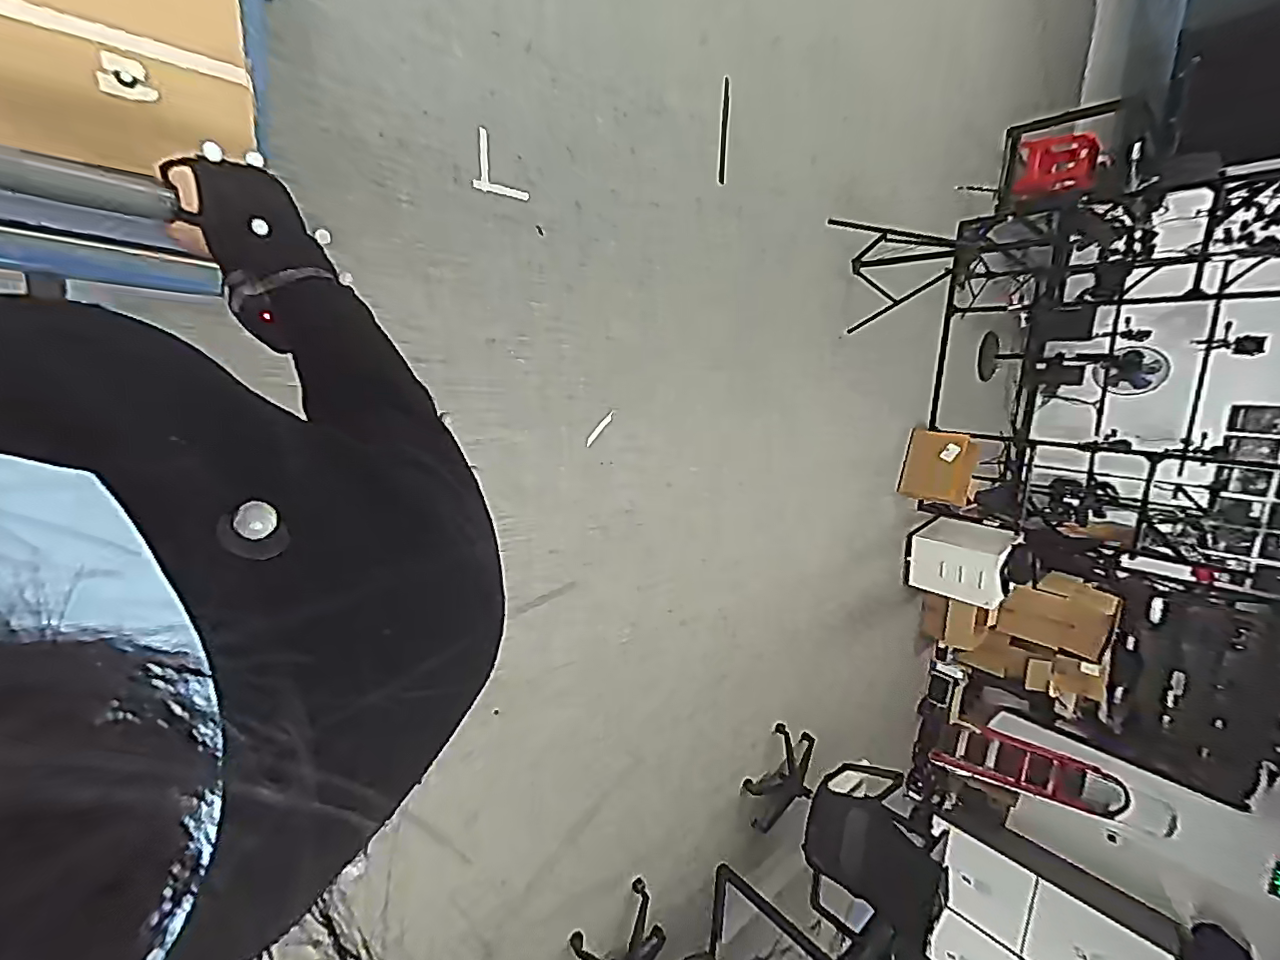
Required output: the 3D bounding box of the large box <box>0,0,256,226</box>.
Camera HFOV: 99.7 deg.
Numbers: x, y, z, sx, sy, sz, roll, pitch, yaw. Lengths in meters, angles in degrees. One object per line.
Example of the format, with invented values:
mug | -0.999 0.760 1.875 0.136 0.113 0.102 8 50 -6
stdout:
large box | -0.828 -0.581 0.762 0.408 0.320 0.320 -9 107 -43
